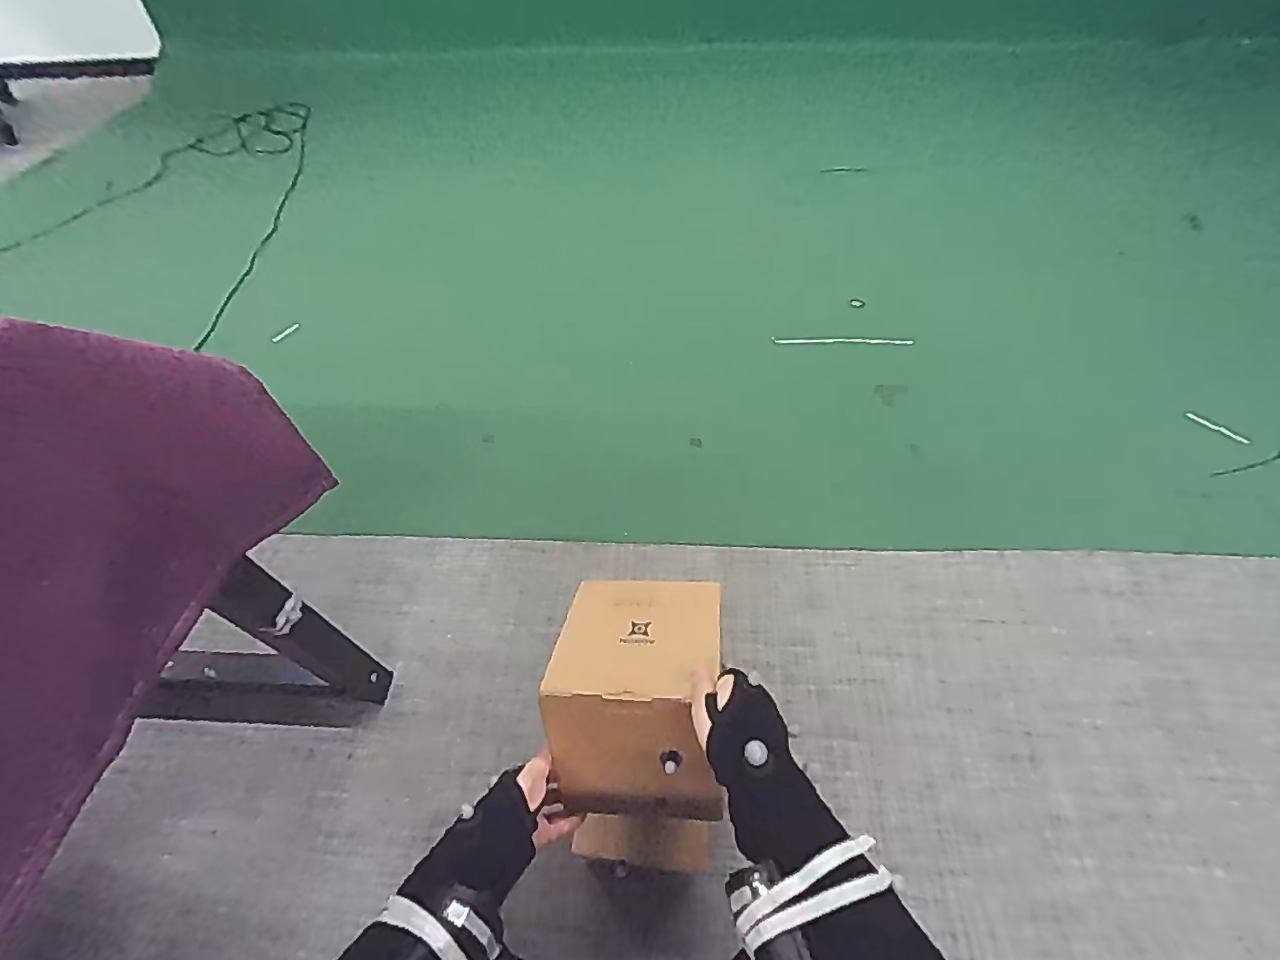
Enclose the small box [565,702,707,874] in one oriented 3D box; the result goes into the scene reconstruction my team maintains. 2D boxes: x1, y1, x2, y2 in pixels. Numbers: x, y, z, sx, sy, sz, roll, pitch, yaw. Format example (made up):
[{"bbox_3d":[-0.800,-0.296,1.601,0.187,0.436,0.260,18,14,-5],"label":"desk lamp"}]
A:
[{"bbox_3d":[0.002,0.438,0.764,0.168,0.176,0.179,6,51,5],"label":"small box"}]
